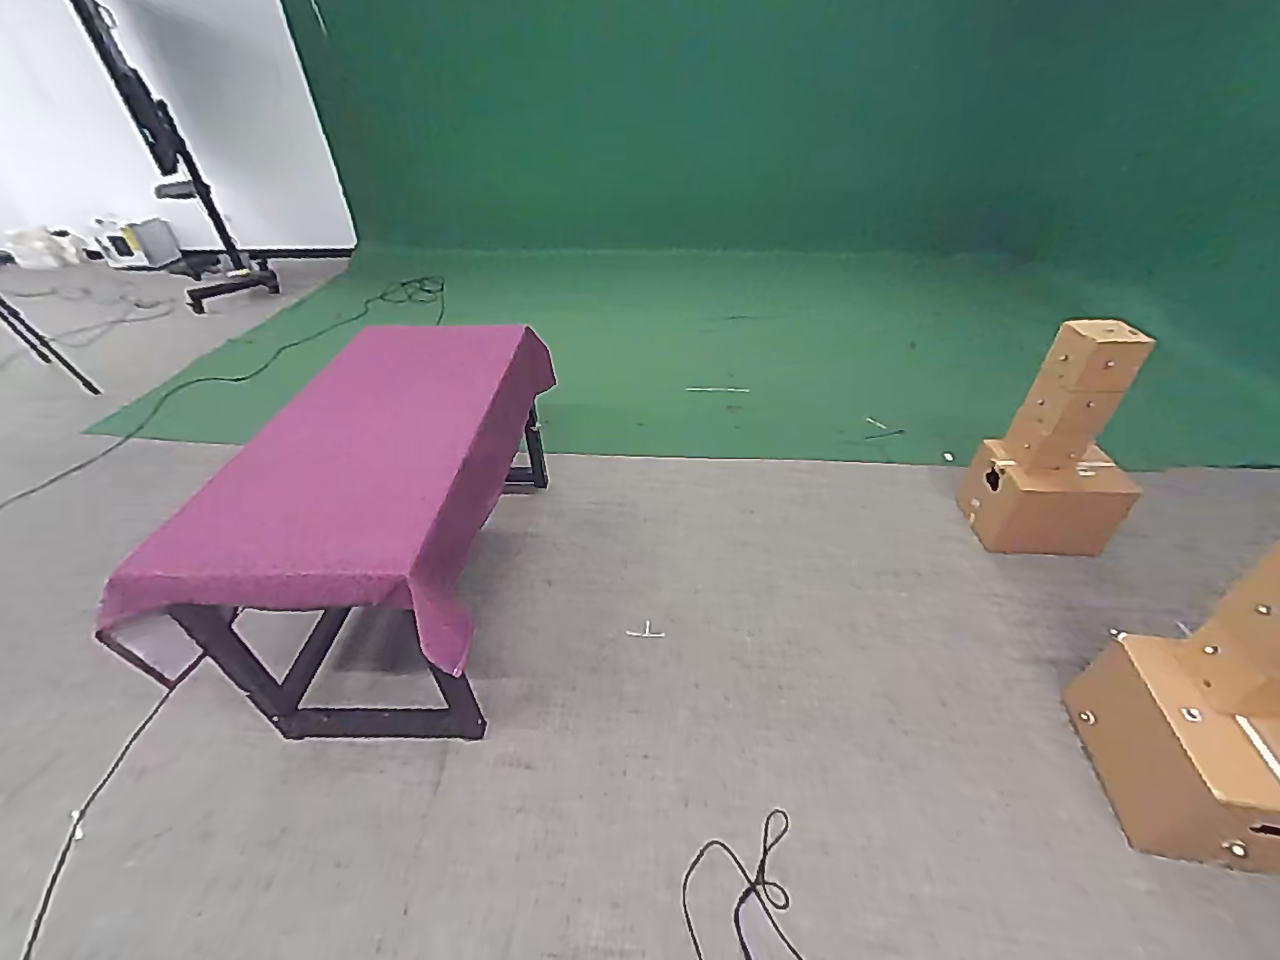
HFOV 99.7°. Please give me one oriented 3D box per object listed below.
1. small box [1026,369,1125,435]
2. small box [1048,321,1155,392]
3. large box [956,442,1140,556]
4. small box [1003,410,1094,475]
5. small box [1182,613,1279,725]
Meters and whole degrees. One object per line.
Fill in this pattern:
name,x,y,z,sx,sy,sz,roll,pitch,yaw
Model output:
small box,1.439,-0.259,1.807,0.179,0.176,0.168,-1,39,-1
small box,1.435,-0.387,1.703,0.179,0.176,0.168,-1,39,1
large box,1.506,0.071,2.046,0.408,0.320,0.320,2,39,3
small box,1.434,-0.132,1.911,0.168,0.176,0.179,1,38,2
small box,1.392,0.428,1.218,0.179,0.176,0.168,7,40,7
